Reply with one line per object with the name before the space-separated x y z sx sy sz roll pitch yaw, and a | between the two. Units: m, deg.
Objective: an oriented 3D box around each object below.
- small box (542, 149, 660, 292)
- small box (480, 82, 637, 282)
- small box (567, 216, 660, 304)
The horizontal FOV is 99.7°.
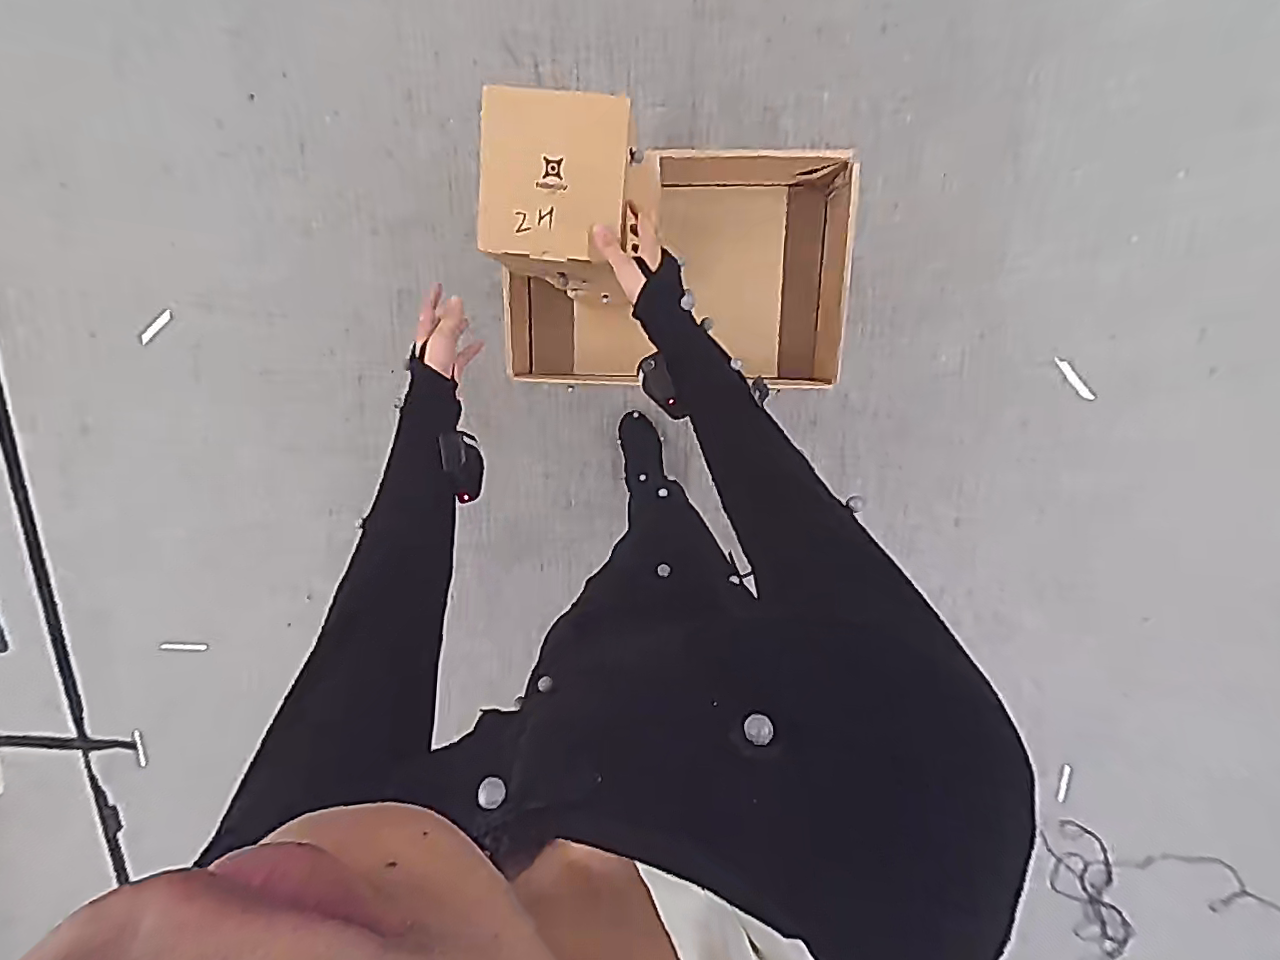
small box | -0.057 -0.397 0.848 0.168 0.176 0.179 5 102 1
small box | -0.094 -0.362 0.689 0.168 0.176 0.179 6 103 1
small box | -0.046 -0.432 1.009 0.168 0.176 0.179 -1 102 3
